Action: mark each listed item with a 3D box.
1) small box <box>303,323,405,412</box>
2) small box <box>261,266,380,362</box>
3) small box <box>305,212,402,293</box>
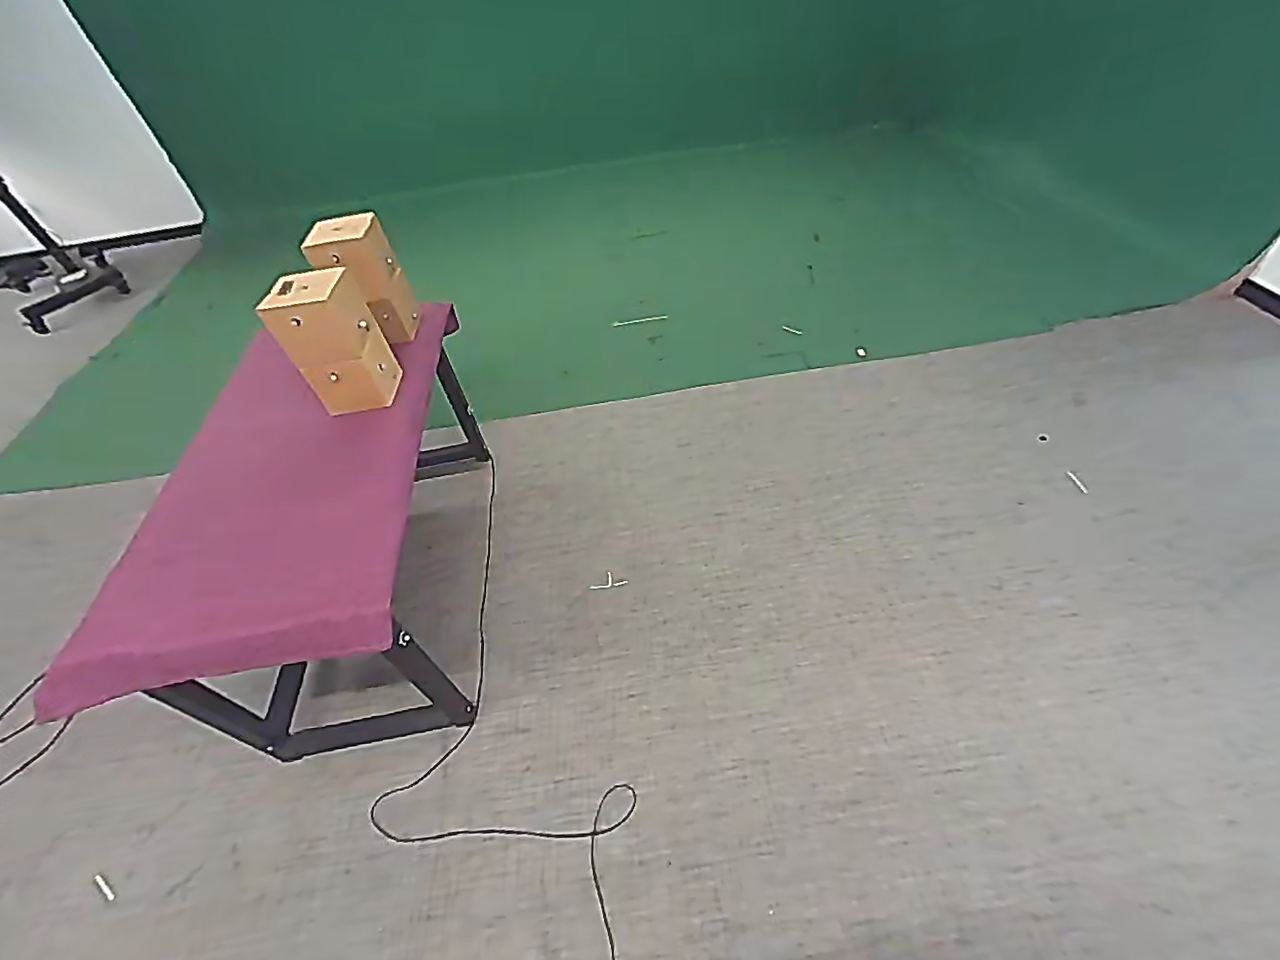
[{"bbox_3d":[-0.782,-0.312,1.503,0.179,0.176,0.168,-9,48,3],"label":"small box"},{"bbox_3d":[-0.805,-0.420,1.382,0.179,0.176,0.168,-7,48,3],"label":"small box"},{"bbox_3d":[-0.836,-0.662,1.597,0.179,0.176,0.168,-9,49,1],"label":"small box"}]
